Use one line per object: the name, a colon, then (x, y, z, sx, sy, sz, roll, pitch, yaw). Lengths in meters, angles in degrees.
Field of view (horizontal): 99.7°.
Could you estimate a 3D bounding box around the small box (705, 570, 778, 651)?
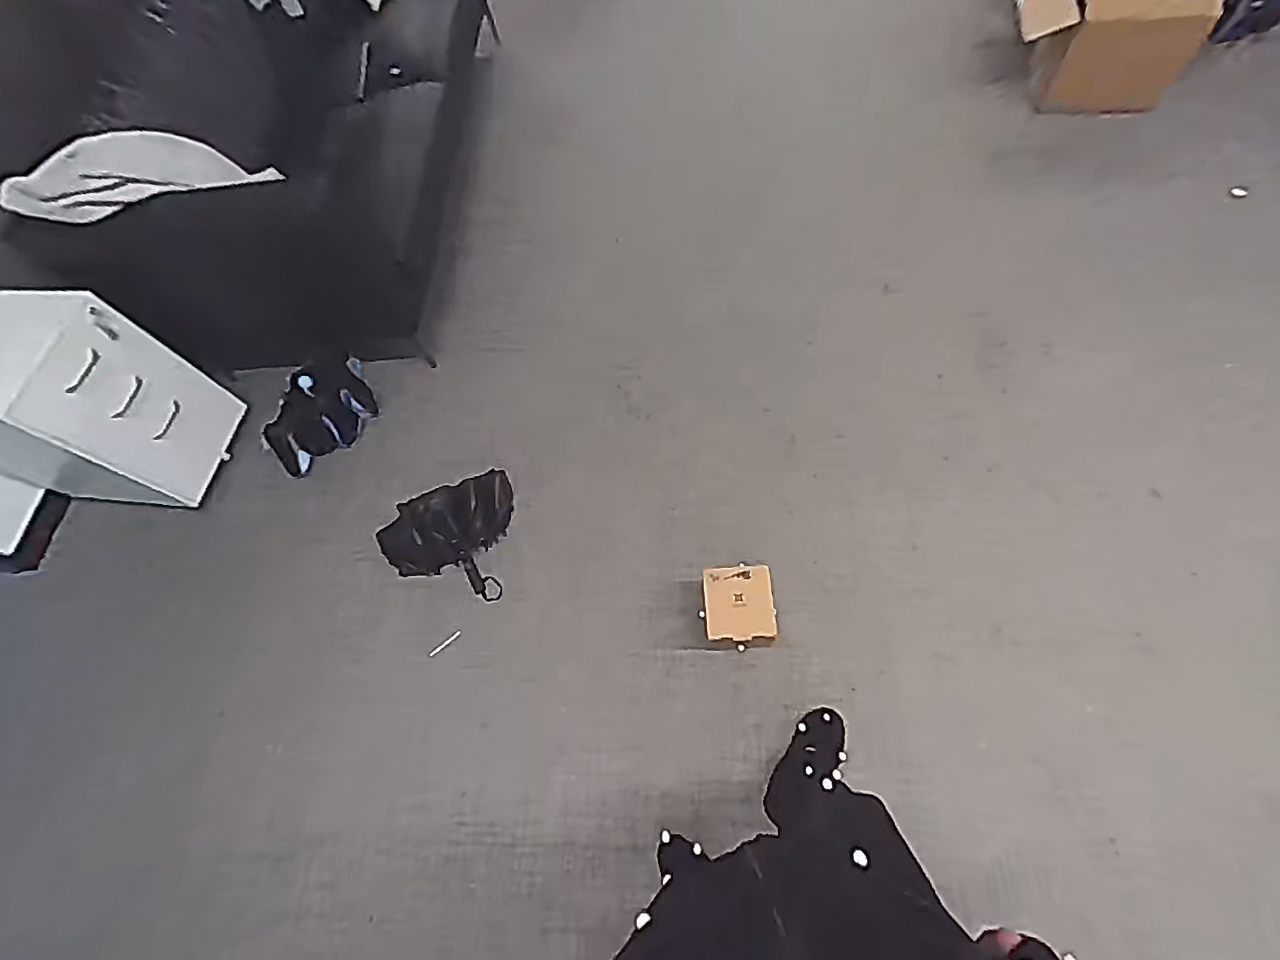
small box: (0.253, 0.337, 1.371, 0.168, 0.176, 0.179, -3, 64, 6)
